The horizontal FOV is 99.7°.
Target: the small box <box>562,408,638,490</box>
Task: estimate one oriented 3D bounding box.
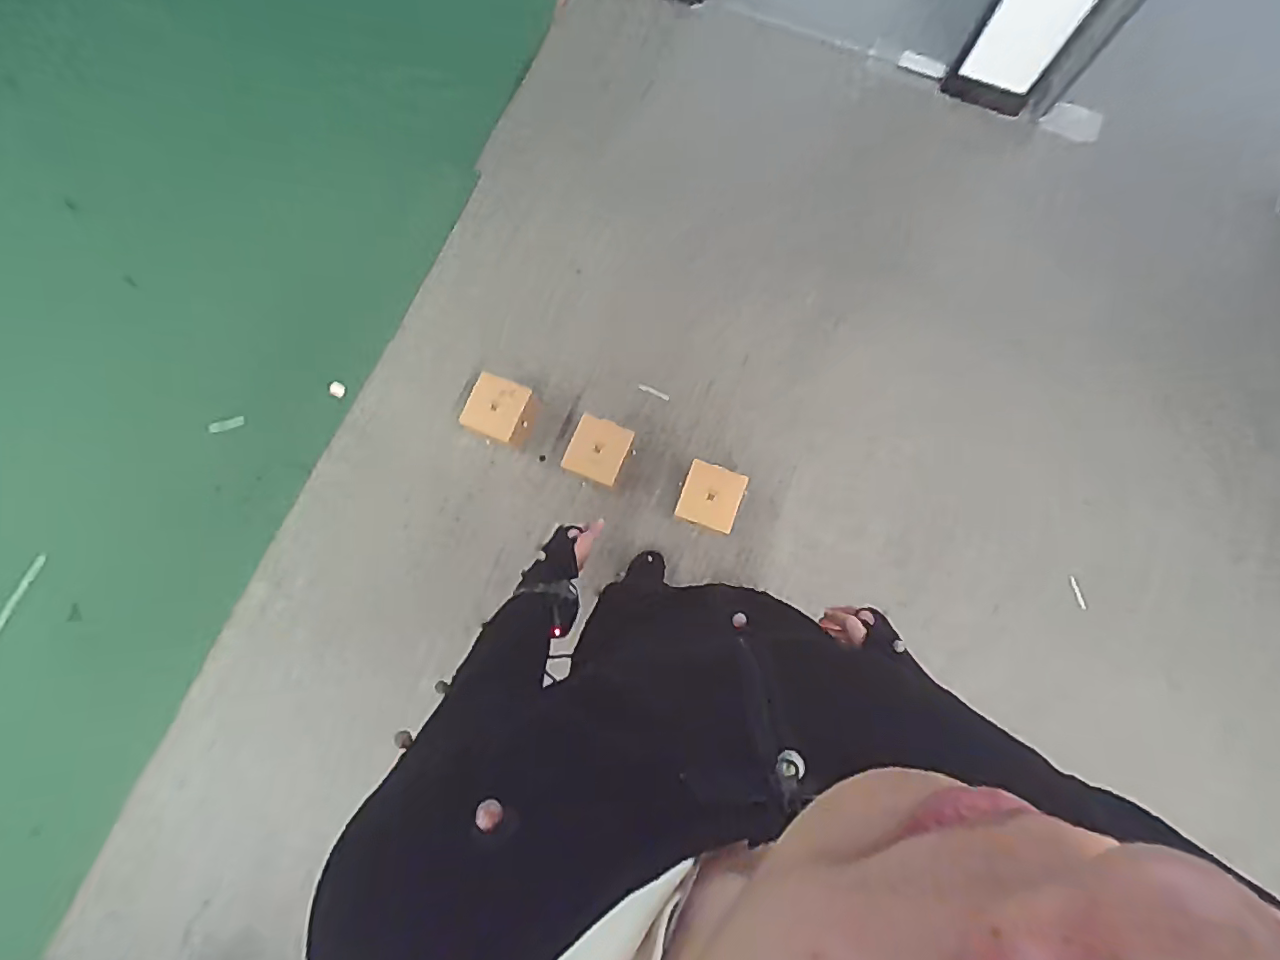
[{"bbox_3d":[-0.114,-0.086,1.620,0.168,0.176,0.179,23,82,6],"label":"small box"}]

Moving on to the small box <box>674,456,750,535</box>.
[{"bbox_3d":[0.206,0.052,1.587,0.168,0.176,0.179,20,81,5],"label":"small box"}]

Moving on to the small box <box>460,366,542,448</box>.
[{"bbox_3d":[-0.414,-0.214,1.650,0.168,0.176,0.179,24,82,5],"label":"small box"}]
